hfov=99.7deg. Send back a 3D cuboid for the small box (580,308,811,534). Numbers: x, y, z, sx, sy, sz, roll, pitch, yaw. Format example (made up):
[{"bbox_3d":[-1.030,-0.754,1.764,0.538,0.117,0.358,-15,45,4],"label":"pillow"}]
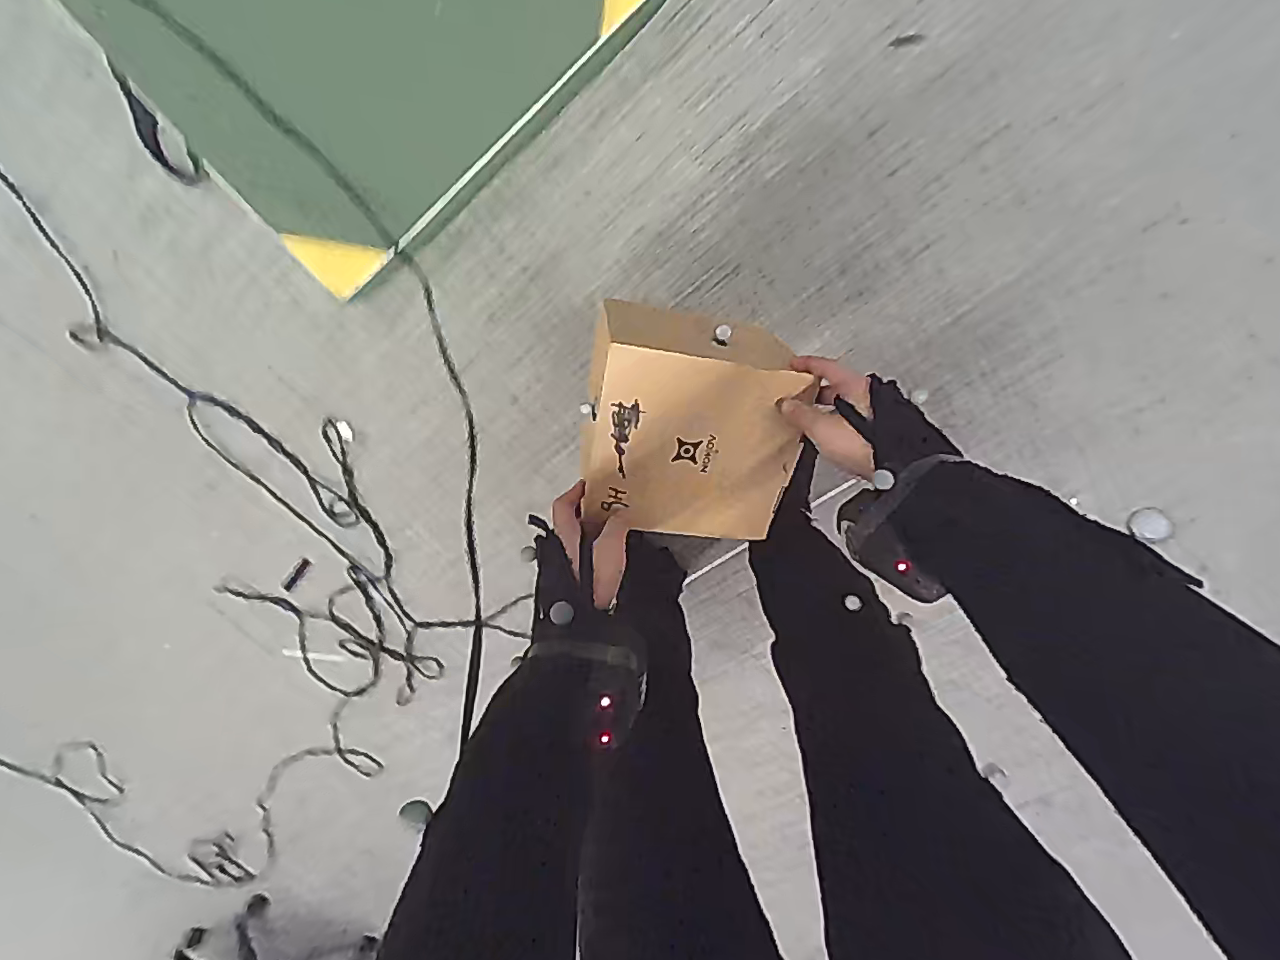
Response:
[{"bbox_3d":[0.037,-0.065,0.541,0.179,0.176,0.168,6,117,-10],"label":"small box"}]
